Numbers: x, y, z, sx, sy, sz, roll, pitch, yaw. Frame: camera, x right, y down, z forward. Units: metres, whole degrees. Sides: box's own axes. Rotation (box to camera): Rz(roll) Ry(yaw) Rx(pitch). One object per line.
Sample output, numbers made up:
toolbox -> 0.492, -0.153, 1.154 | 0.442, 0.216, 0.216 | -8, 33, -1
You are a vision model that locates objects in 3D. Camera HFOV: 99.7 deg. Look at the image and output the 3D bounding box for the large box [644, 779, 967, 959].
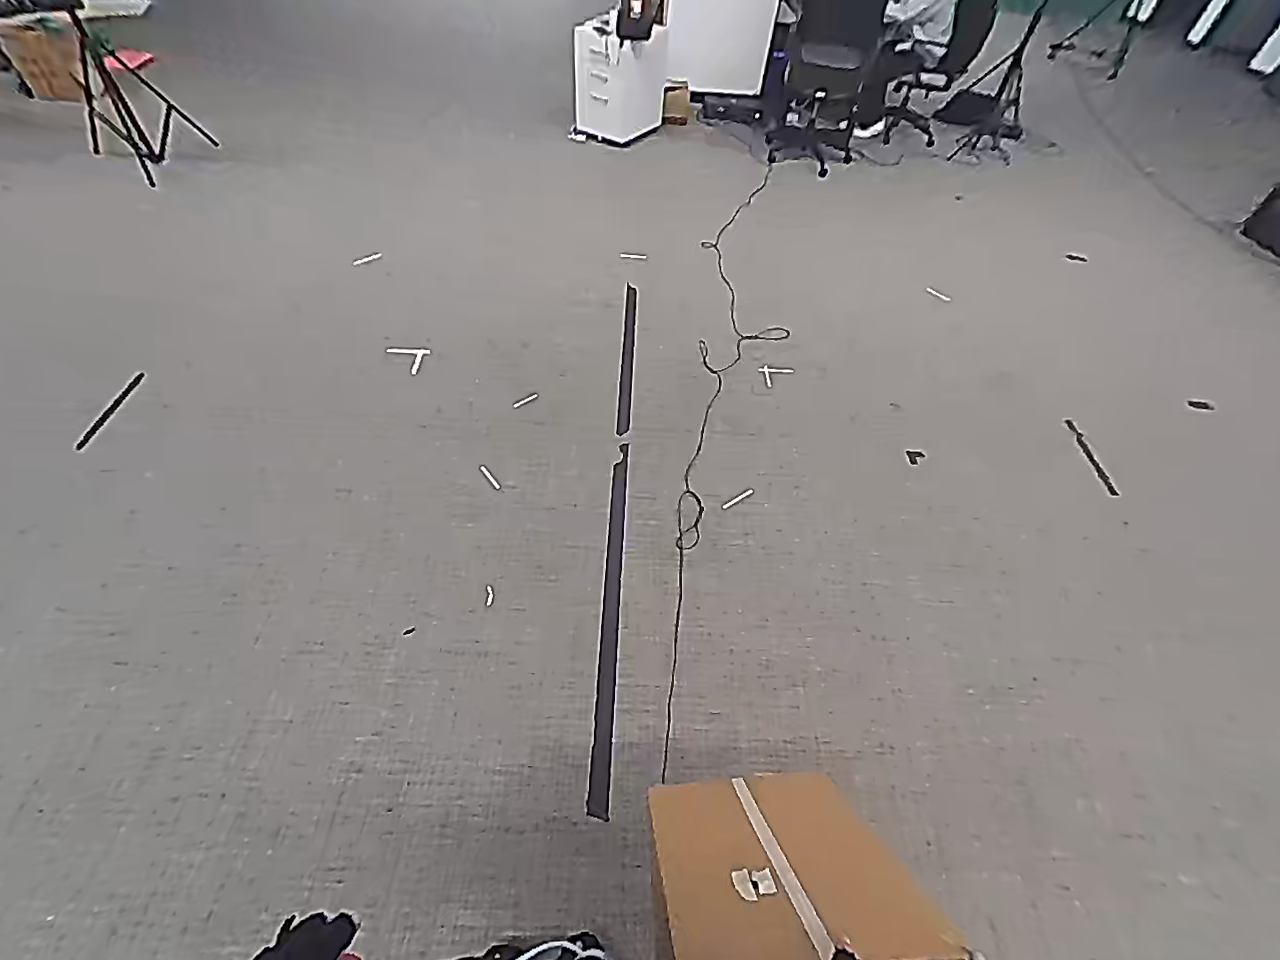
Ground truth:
large box -> 0.181, 0.666, 0.731 | 0.320, 0.408, 0.320 | -2, 87, -5
